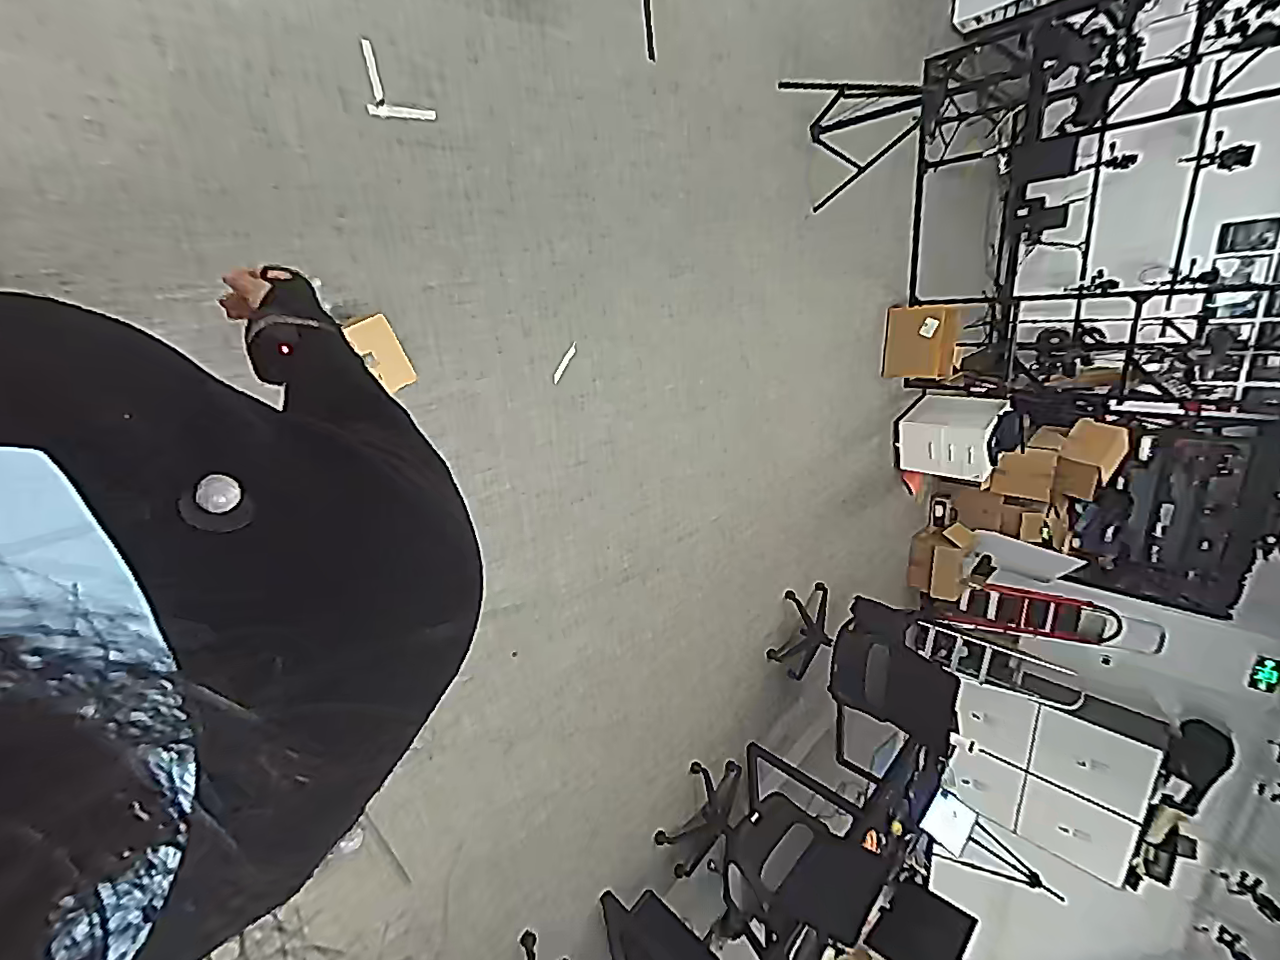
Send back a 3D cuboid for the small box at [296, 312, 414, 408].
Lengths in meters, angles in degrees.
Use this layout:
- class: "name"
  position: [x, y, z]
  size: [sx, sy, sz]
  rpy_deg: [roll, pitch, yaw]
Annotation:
- class: "small box"
  position: [-0.691, -0.291, 1.308]
  size: [0.168, 0.176, 0.179]
  rpy_deg: [-40, 126, -32]
